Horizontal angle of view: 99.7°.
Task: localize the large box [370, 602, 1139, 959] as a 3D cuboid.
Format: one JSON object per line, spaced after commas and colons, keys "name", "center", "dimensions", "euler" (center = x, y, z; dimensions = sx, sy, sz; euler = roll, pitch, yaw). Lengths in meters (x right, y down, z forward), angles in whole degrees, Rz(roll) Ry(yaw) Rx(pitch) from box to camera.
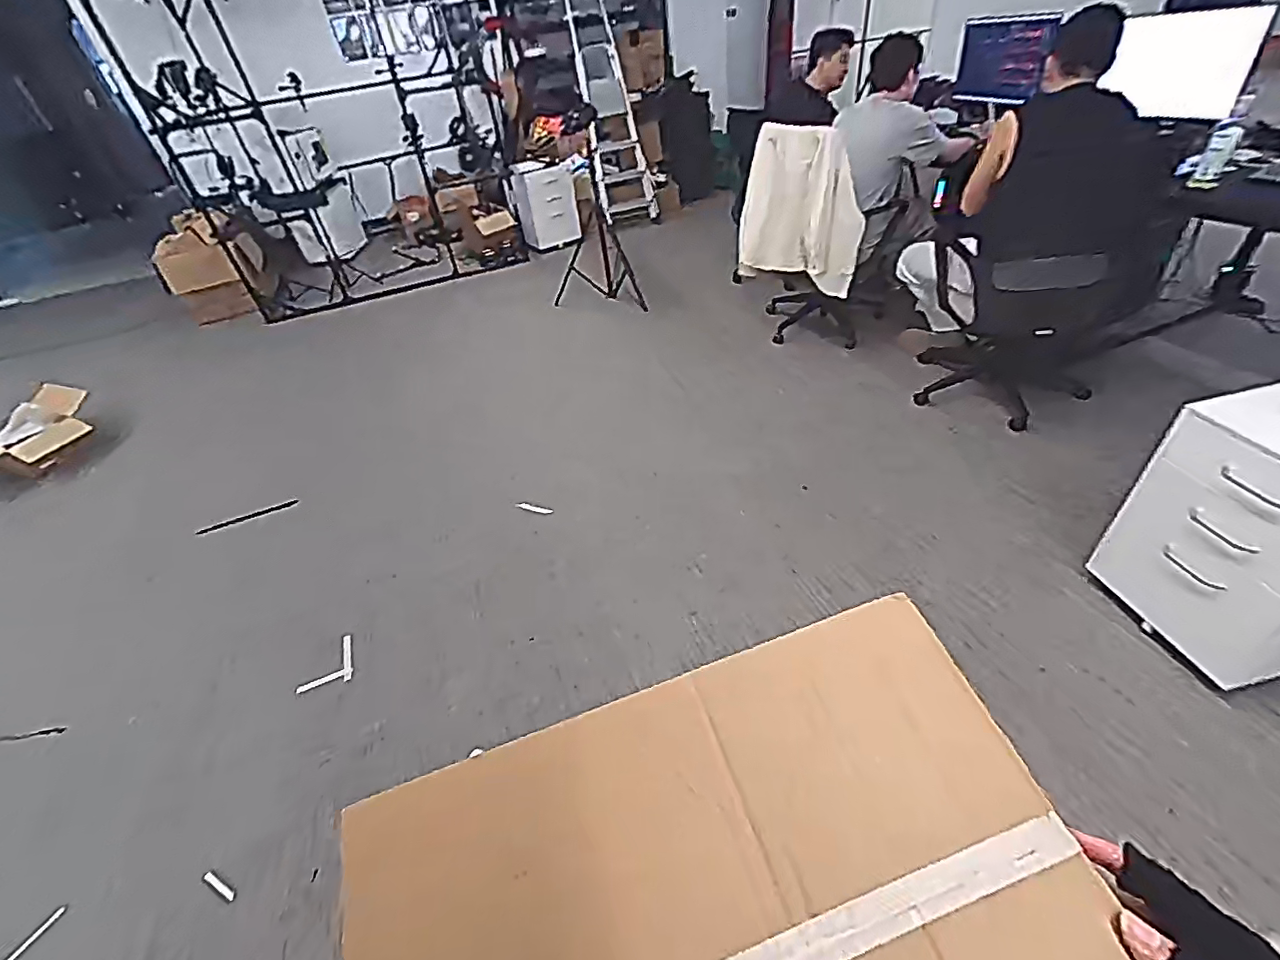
{"name": "large box", "center": [0.070, 0.353, 0.417], "dimensions": [0.408, 0.320, 0.320], "euler": [-19, 57, -6]}
